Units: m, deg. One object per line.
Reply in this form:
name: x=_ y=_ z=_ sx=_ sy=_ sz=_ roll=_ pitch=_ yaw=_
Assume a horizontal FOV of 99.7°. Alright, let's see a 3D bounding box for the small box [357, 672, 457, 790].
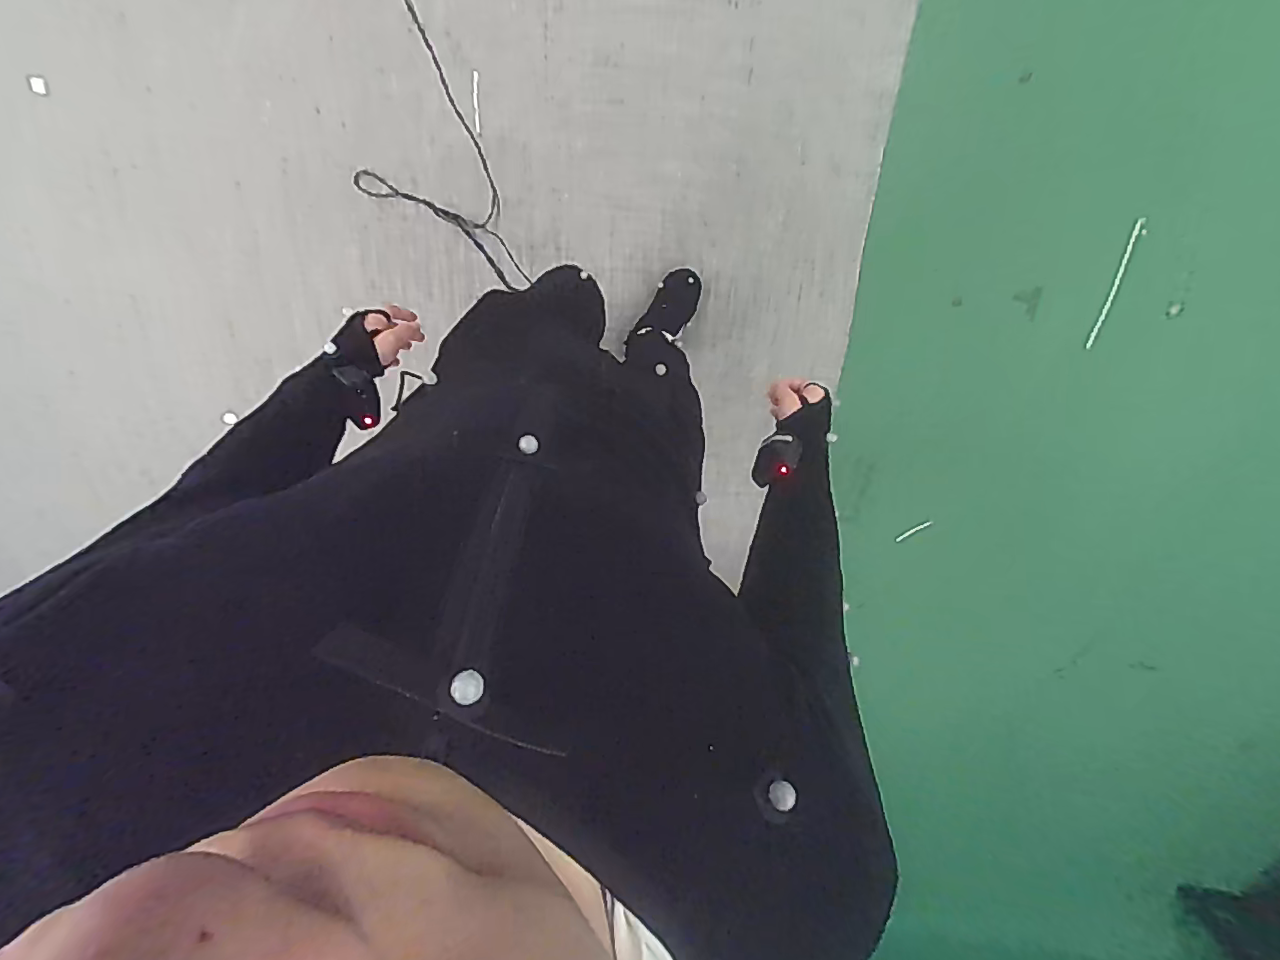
small box: x=-0.537 y=0.578 z=1.260 sx=0.168 sy=0.176 sz=0.179 roll=11 pitch=115 yaw=-3
